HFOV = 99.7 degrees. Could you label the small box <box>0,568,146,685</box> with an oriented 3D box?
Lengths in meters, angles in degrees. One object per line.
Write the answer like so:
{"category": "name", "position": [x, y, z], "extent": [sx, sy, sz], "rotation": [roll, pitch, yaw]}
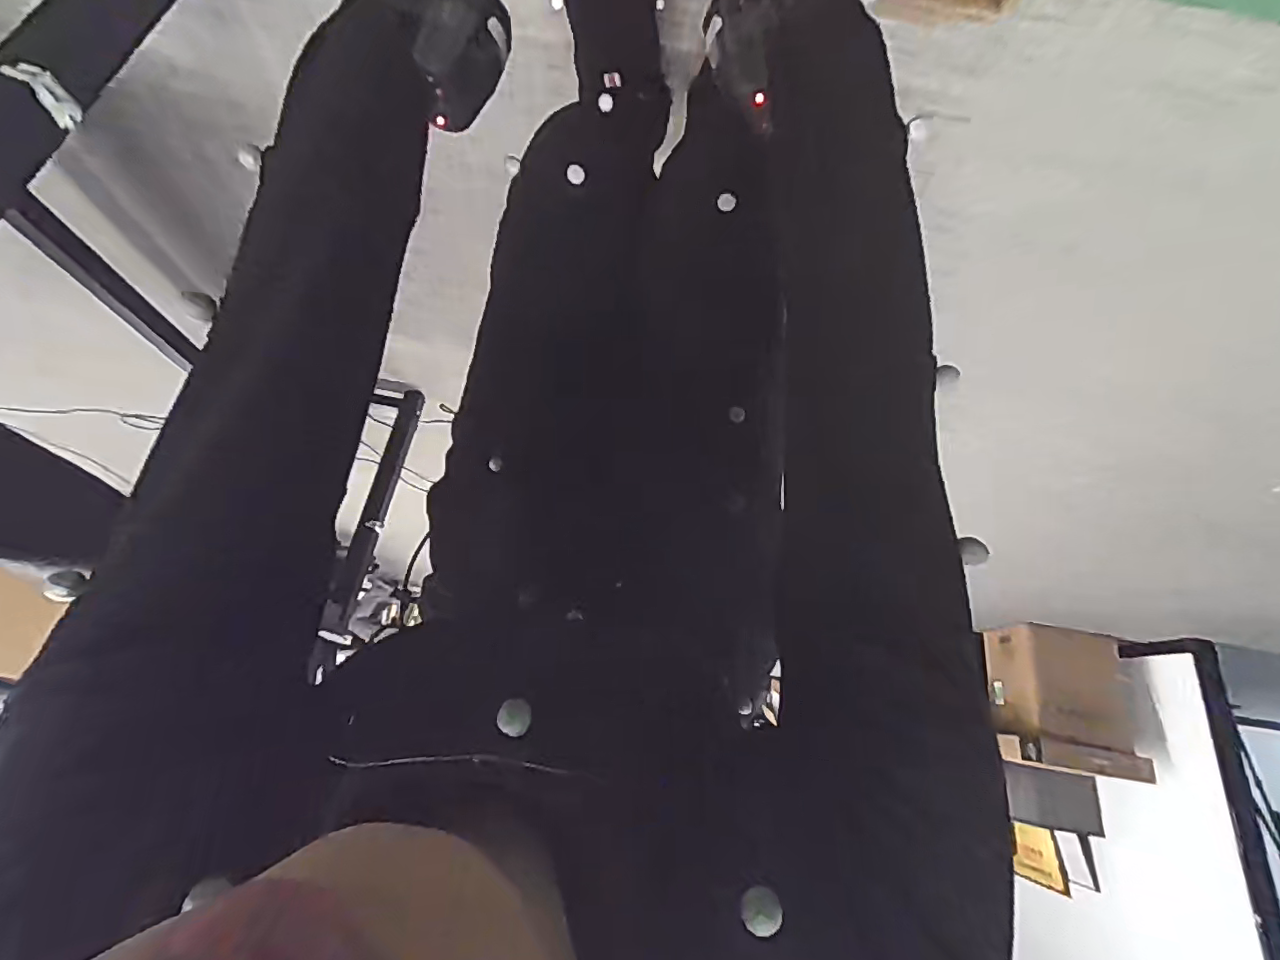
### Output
{"category": "small box", "position": [-1.054, 0.261, 0.961], "extent": [0.179, 0.176, 0.168], "rotation": [10, 158, -4]}
